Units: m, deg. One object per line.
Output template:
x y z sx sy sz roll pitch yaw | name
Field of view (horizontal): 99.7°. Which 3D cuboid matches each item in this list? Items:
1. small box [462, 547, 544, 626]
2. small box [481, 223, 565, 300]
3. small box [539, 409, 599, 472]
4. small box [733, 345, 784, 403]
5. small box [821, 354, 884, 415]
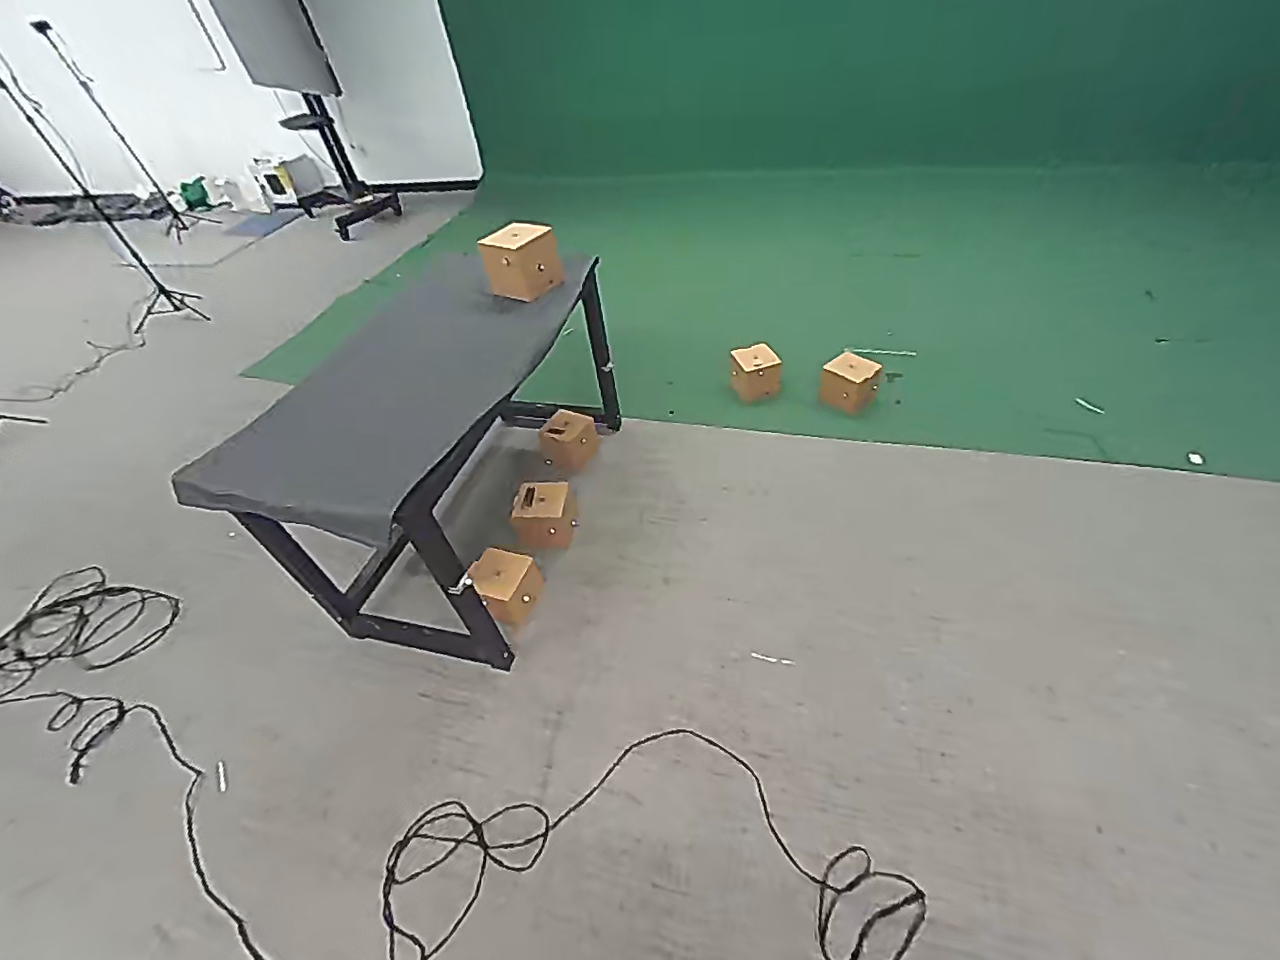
-0.427 0.344 1.723 0.179 0.176 0.168 10 48 18 | small box
-0.359 -0.683 1.695 0.179 0.176 0.168 23 52 31 | small box
-0.282 -0.158 2.198 0.168 0.176 0.179 18 49 23 | small box
0.517 -0.468 2.392 0.168 0.176 0.179 -16 44 -7 | small box
0.885 -0.394 2.263 0.168 0.176 0.179 -33 49 -24 | small box
